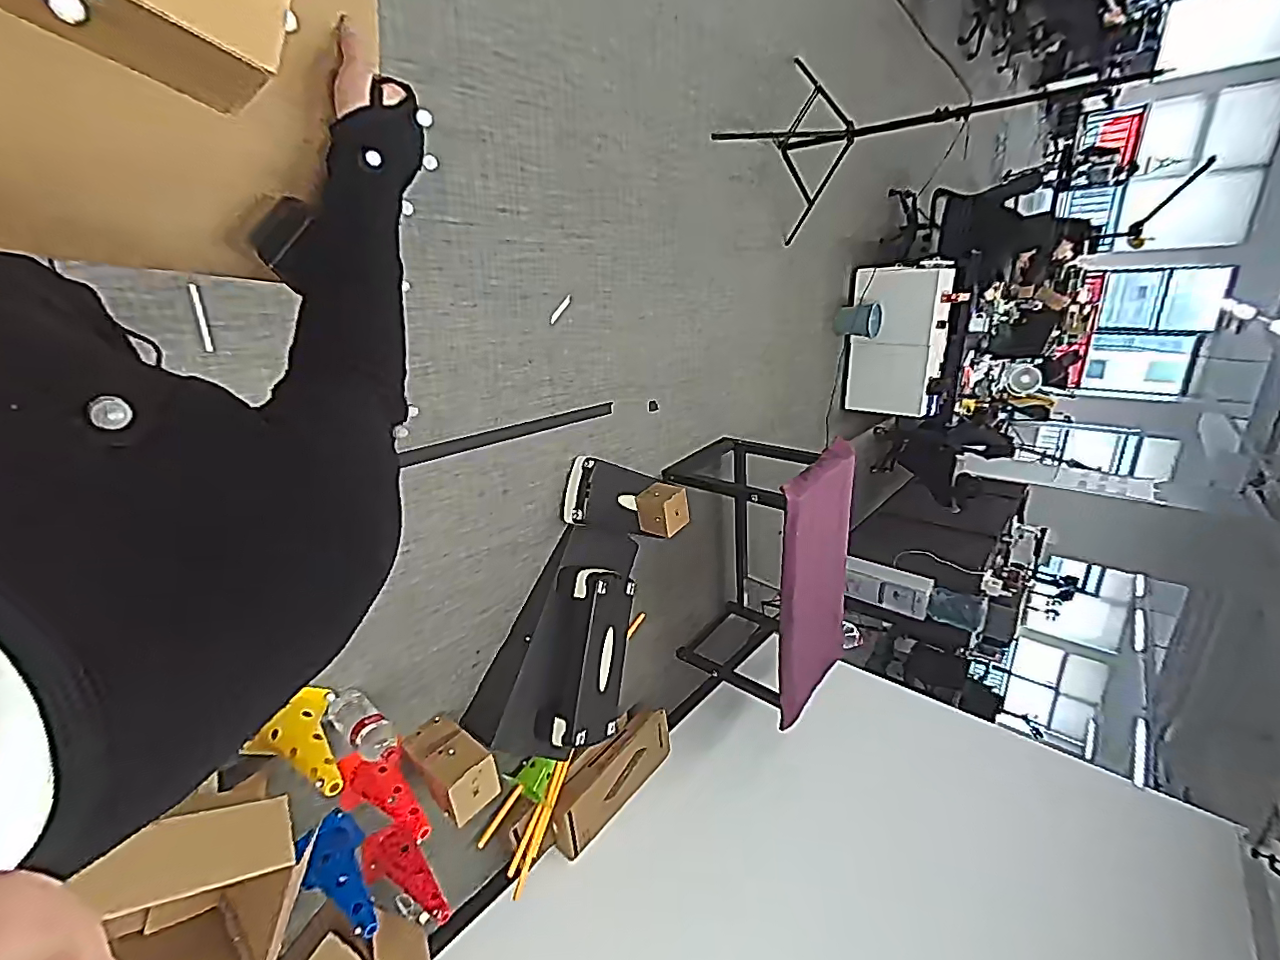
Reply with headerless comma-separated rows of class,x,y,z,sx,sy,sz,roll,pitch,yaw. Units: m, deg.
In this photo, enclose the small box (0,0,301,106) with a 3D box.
small box,-0.330,-0.374,0.345,0.179,0.176,0.168,8,102,-45
